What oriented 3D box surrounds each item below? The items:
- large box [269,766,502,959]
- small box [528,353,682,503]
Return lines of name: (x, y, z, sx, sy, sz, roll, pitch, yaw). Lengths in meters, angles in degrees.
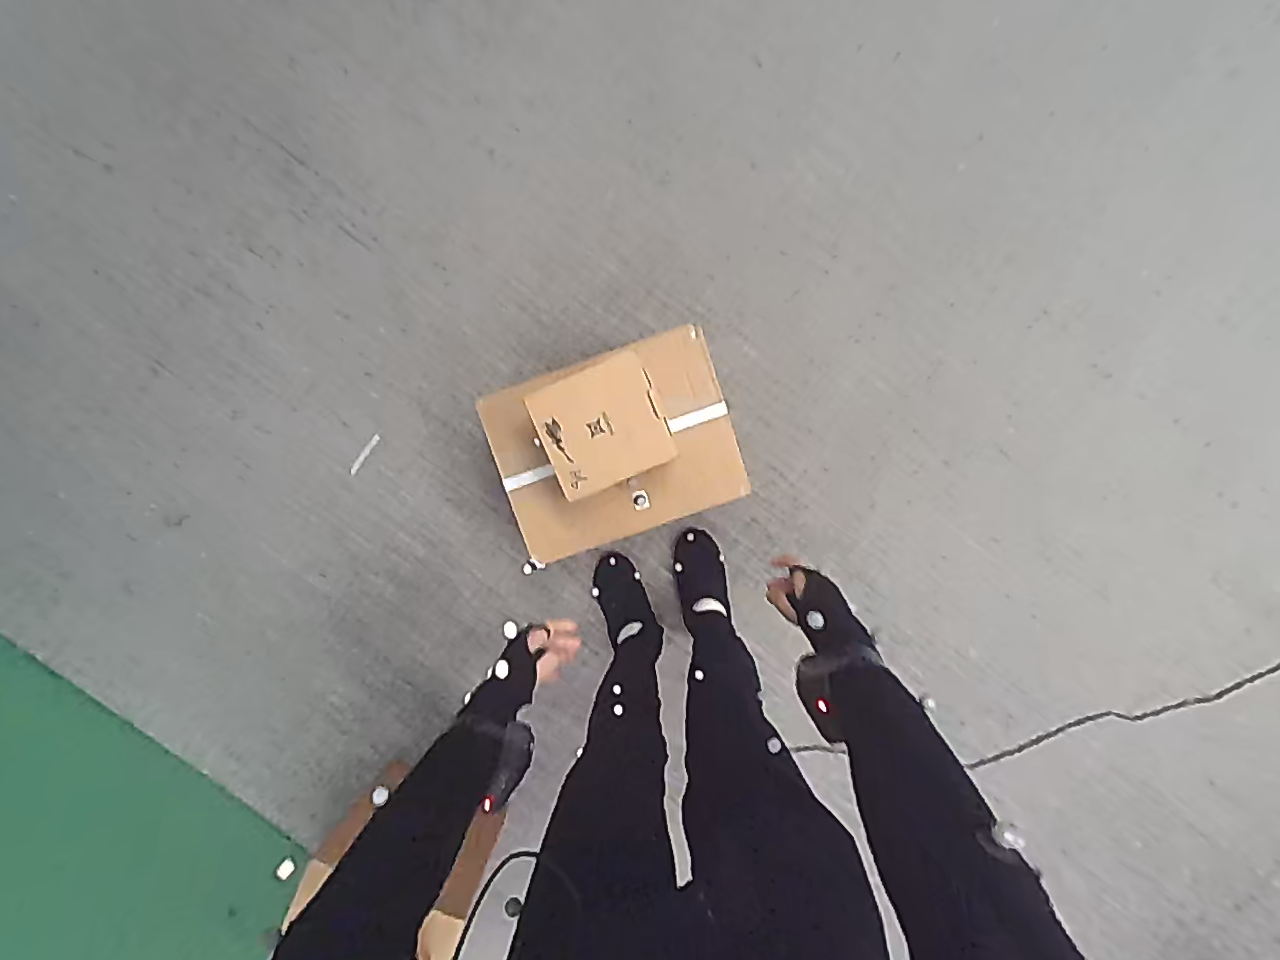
large box: (-0.536, 0.917, 1.147, 0.320, 0.320, 0.408, 23, 95, 0)
small box: (-0.050, -0.076, 0.837, 0.179, 0.176, 0.168, -23, 91, 1)
